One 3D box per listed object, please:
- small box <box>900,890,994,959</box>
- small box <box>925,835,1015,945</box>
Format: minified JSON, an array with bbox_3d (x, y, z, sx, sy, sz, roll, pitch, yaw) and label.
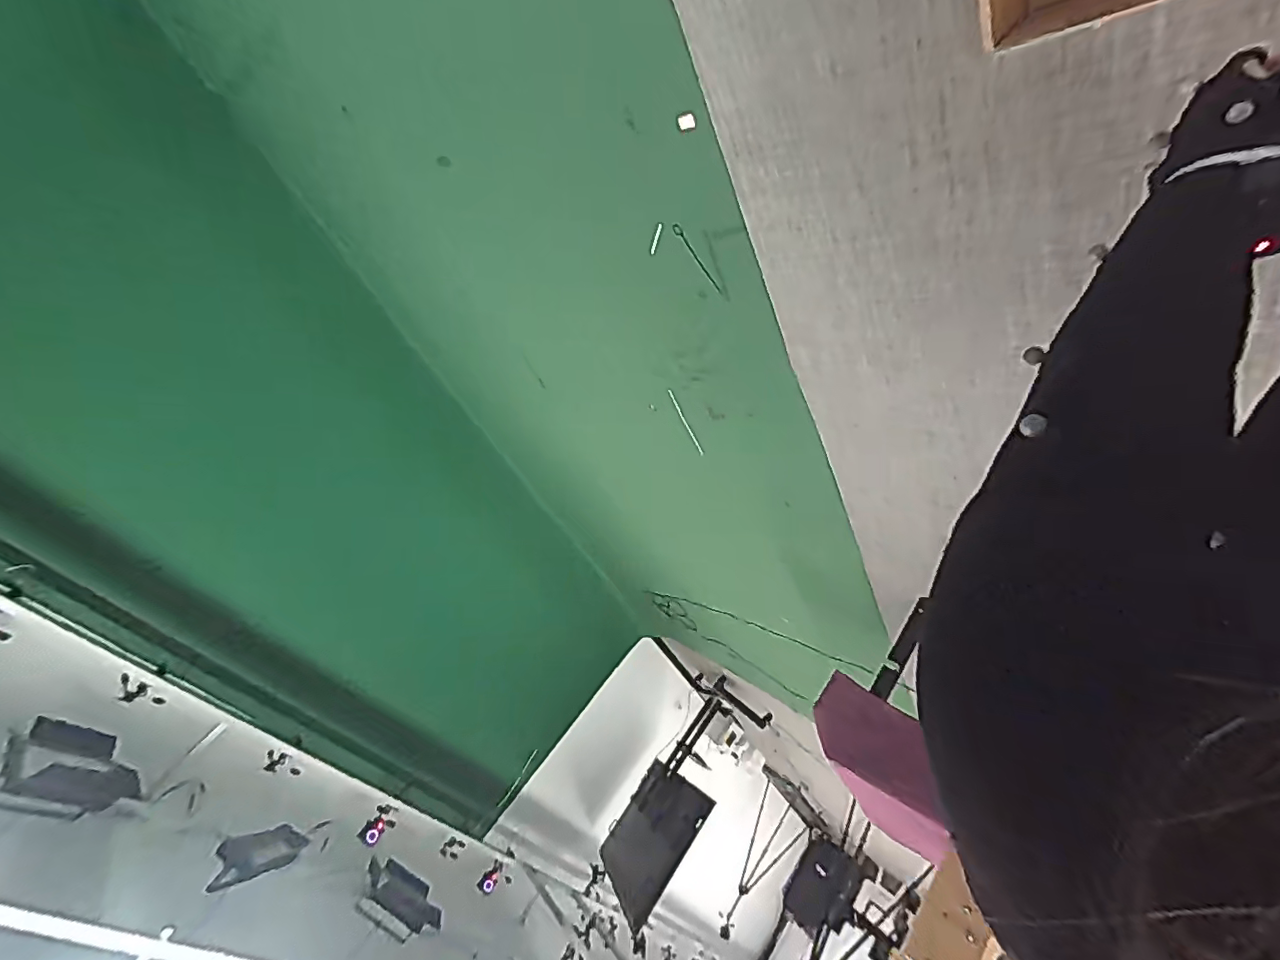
[{"bbox_3d":[0.853,1.289,1.498,0.168,0.176,0.179,14,146,51],"label":"small box"},{"bbox_3d":[0.955,1.173,1.556,0.168,0.176,0.179,12,145,49],"label":"small box"}]
